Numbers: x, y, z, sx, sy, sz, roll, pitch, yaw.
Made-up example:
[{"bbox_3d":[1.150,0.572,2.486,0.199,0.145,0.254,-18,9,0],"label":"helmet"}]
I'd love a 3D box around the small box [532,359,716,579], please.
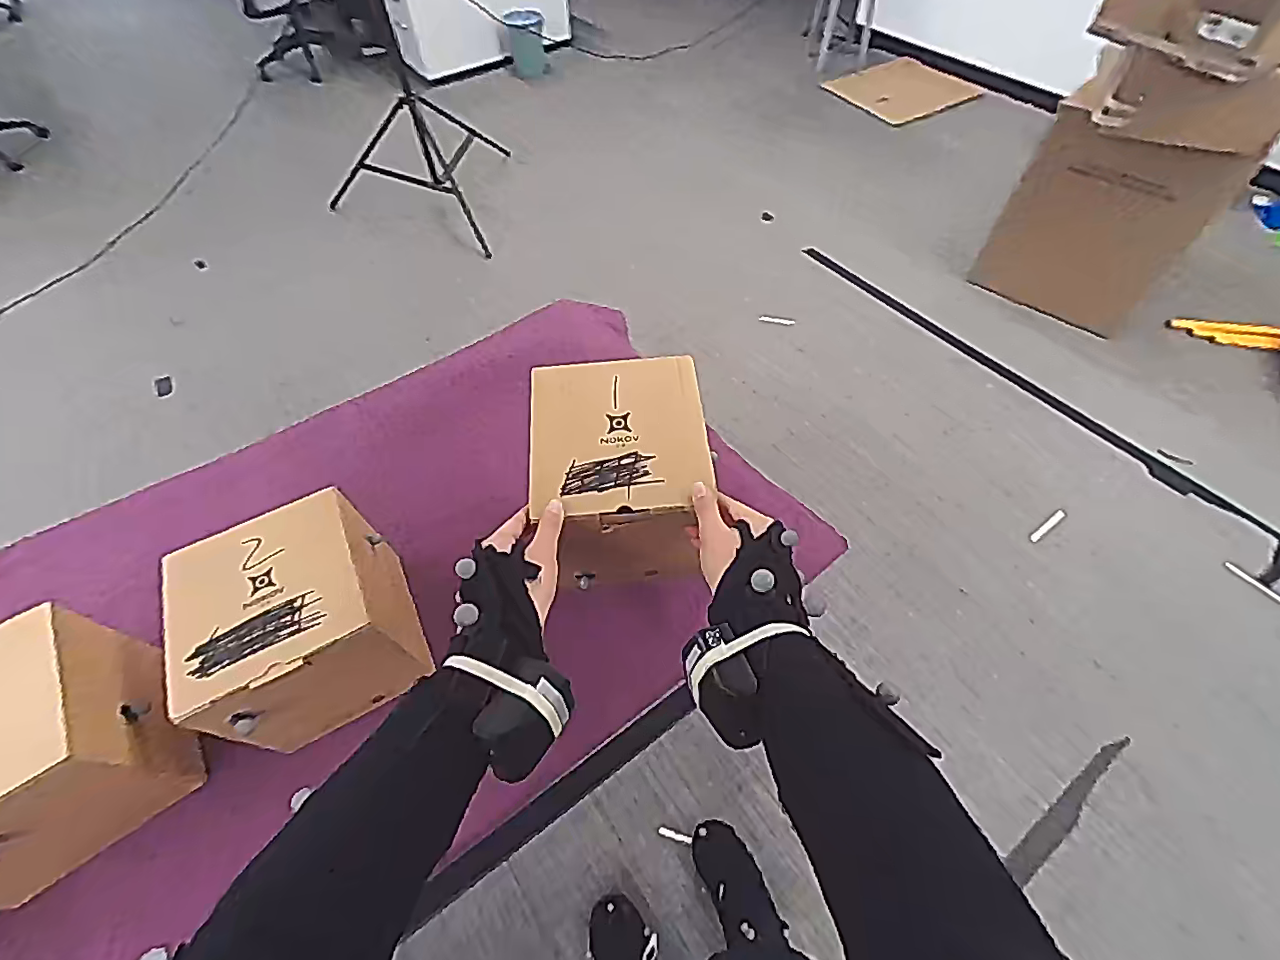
[{"bbox_3d":[-0.016,-0.002,0.579,0.168,0.176,0.179,-5,58,-1],"label":"small box"}]
